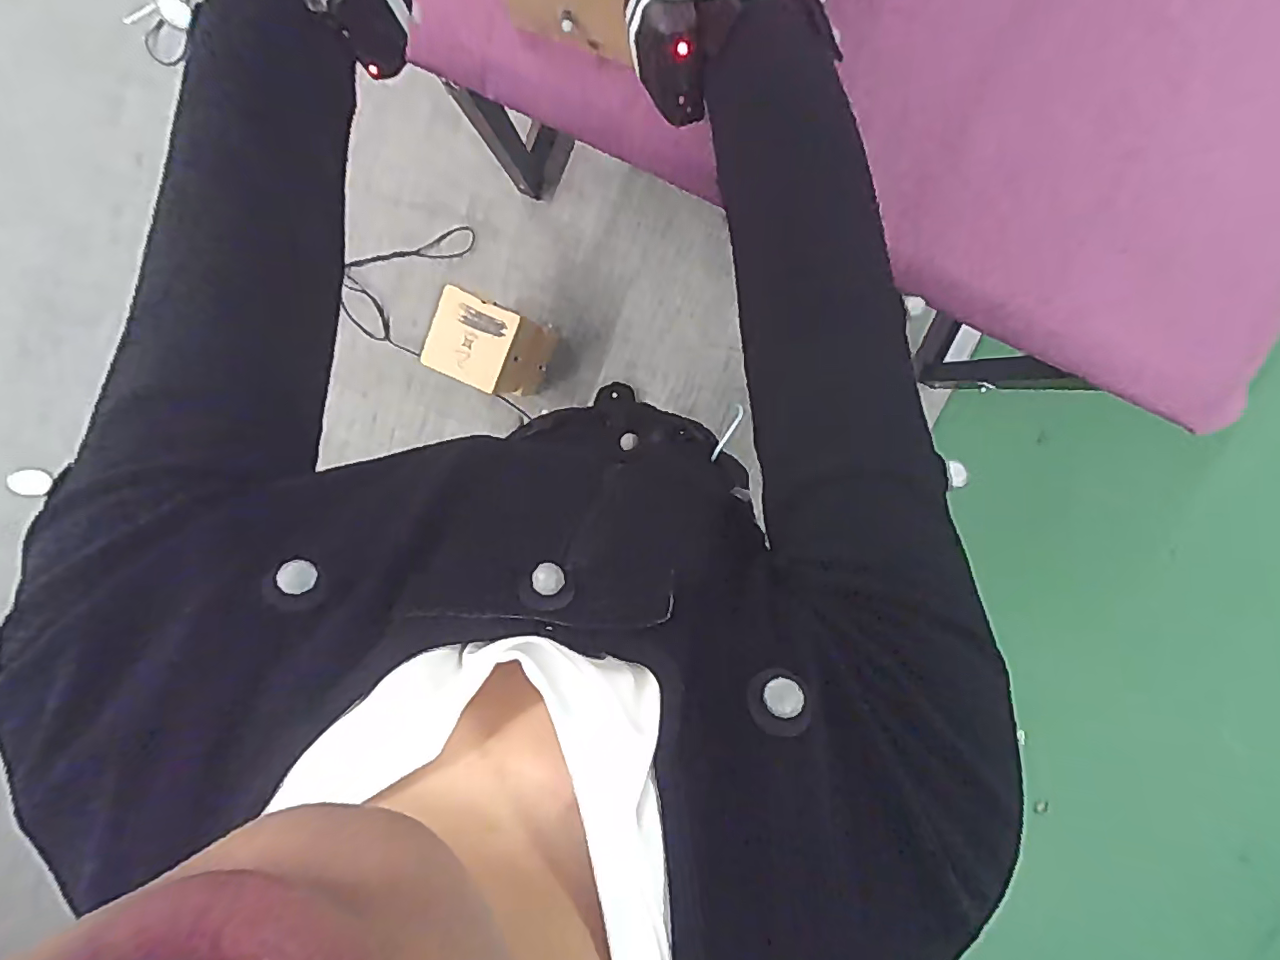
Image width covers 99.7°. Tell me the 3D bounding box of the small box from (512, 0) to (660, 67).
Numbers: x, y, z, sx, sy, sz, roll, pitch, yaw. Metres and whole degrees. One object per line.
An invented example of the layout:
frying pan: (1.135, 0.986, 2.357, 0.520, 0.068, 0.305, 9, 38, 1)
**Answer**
small box: (-0.051, -0.590, 0.559, 0.168, 0.176, 0.179, 19, 98, -3)
